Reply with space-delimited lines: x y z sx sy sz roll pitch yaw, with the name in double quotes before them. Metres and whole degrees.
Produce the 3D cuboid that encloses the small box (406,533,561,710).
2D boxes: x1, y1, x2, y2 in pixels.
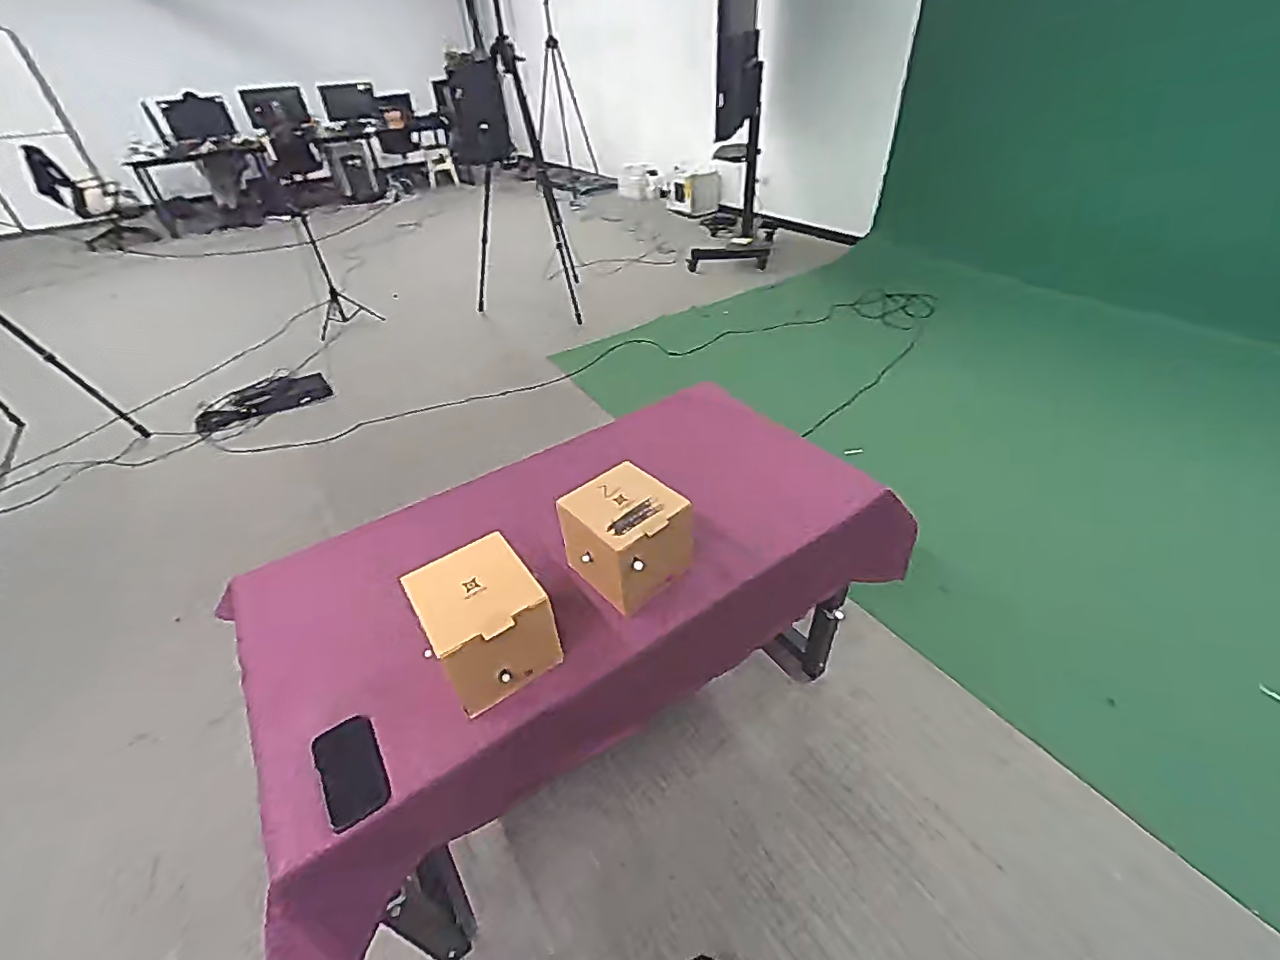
"small box" -0.244 0.223 0.861 0.168 0.176 0.179 -27 45 -25
